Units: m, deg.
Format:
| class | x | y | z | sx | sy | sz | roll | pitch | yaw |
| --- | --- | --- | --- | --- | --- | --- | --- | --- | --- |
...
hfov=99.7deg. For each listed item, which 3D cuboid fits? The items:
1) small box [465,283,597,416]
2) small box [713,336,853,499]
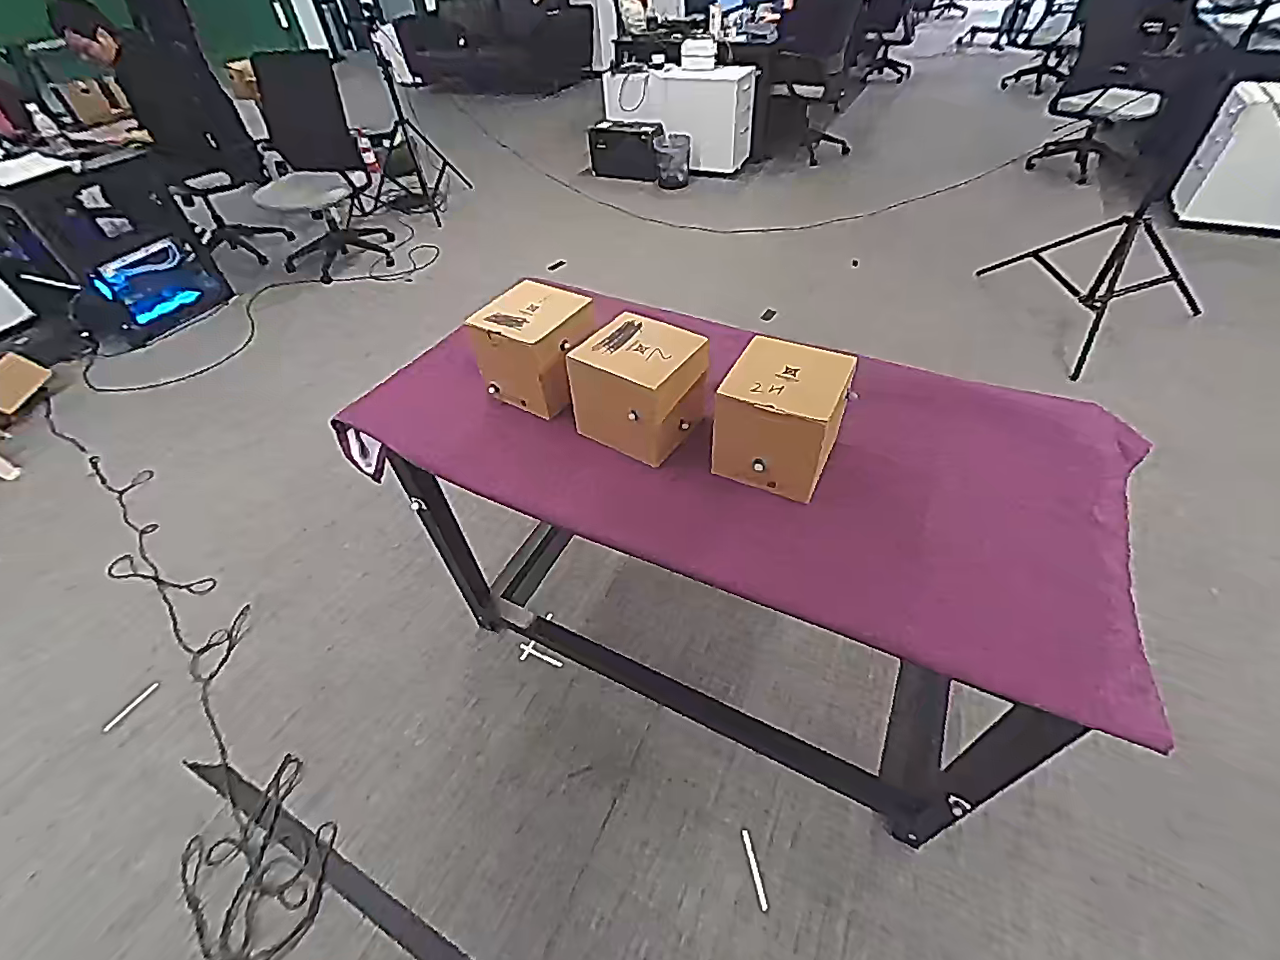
| class | x | y | z | sx | sy | sz | roll | pitch | yaw |
| --- | --- | --- | --- | --- | --- | --- | --- | --- | --- |
| small box | -0.198 | -0.250 | 1.042 | 0.168 | 0.176 | 0.179 | 23 | 52 | 24 |
| small box | 0.223 | -0.102 | 0.870 | 0.168 | 0.176 | 0.179 | 19 | 50 | 22 |
